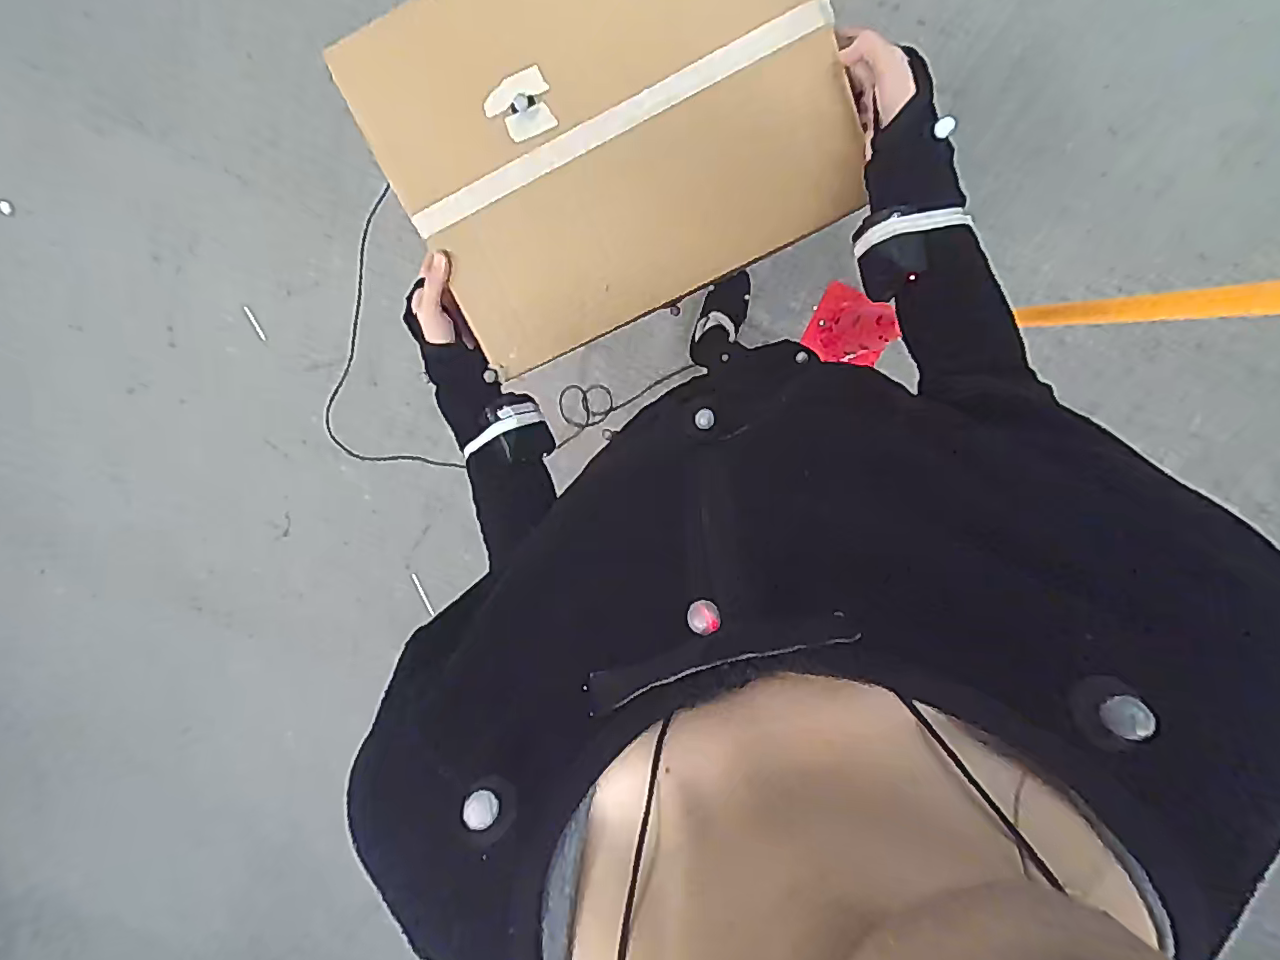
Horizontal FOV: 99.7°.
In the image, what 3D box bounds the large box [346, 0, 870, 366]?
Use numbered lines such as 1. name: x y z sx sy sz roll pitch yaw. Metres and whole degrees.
1. large box: -0.022 -0.373 0.636 0.408 0.320 0.320 -24 105 6
